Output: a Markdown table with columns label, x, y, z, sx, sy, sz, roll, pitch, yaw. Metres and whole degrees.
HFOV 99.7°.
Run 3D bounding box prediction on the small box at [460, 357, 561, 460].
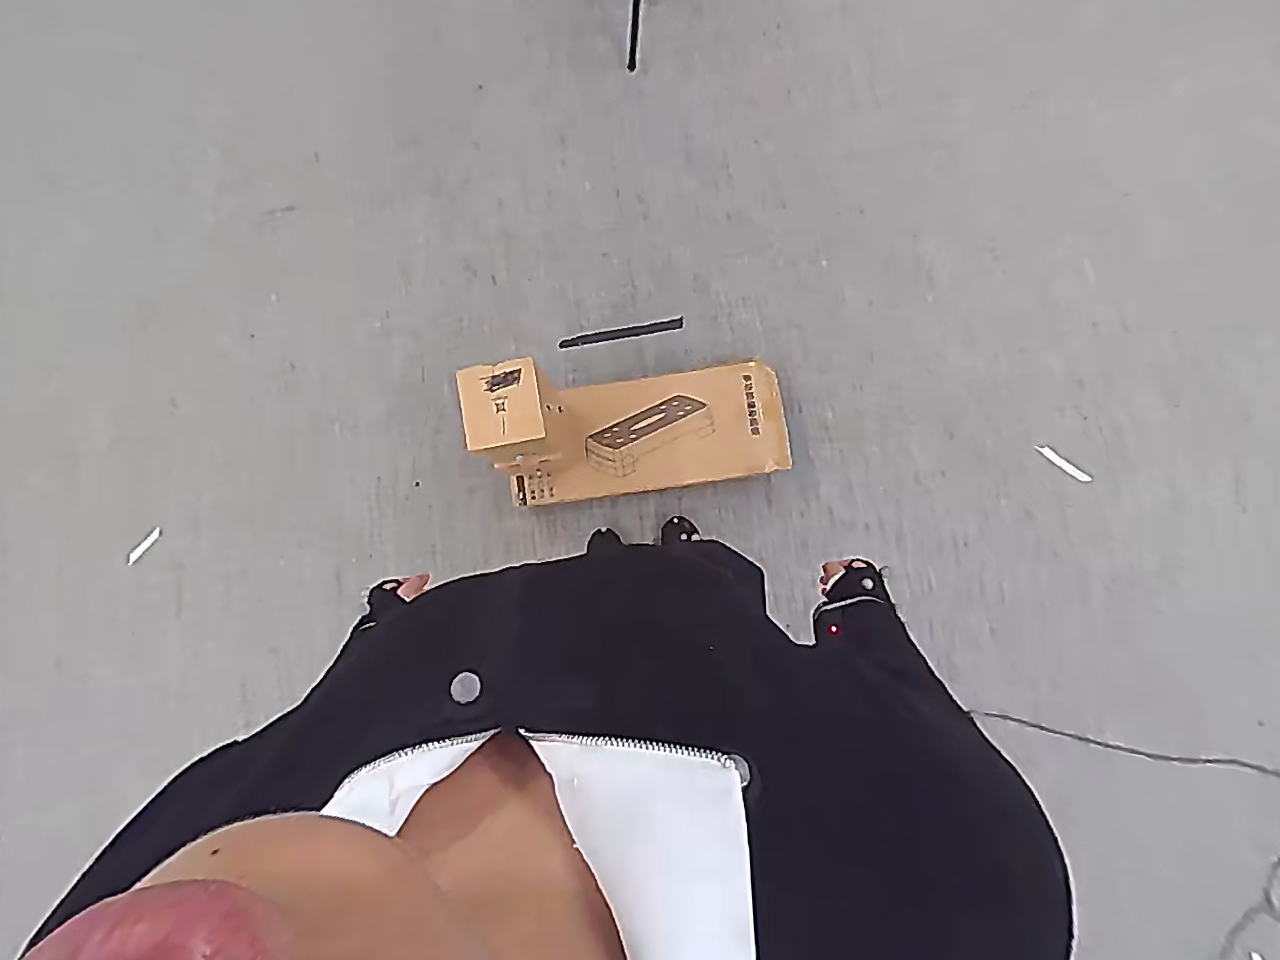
| label | x | y | z | sx | sy | sz | roll | pitch | yaw |
| --- | --- | --- | --- | --- | --- | --- | --- | --- | --- |
| small box | -0.280 | -0.151 | 1.195 | 0.168 | 0.176 | 0.179 | -10 | 84 | 2 |

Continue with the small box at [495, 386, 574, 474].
| label | x | y | z | sx | sy | sz | roll | pitch | yaw |
| --- | --- | --- | --- | --- | --- | --- | --- | --- | --- |
| small box | -0.267 | -0.119 | 1.356 | 0.168 | 0.176 | 0.179 | -8 | 84 | 2 |
